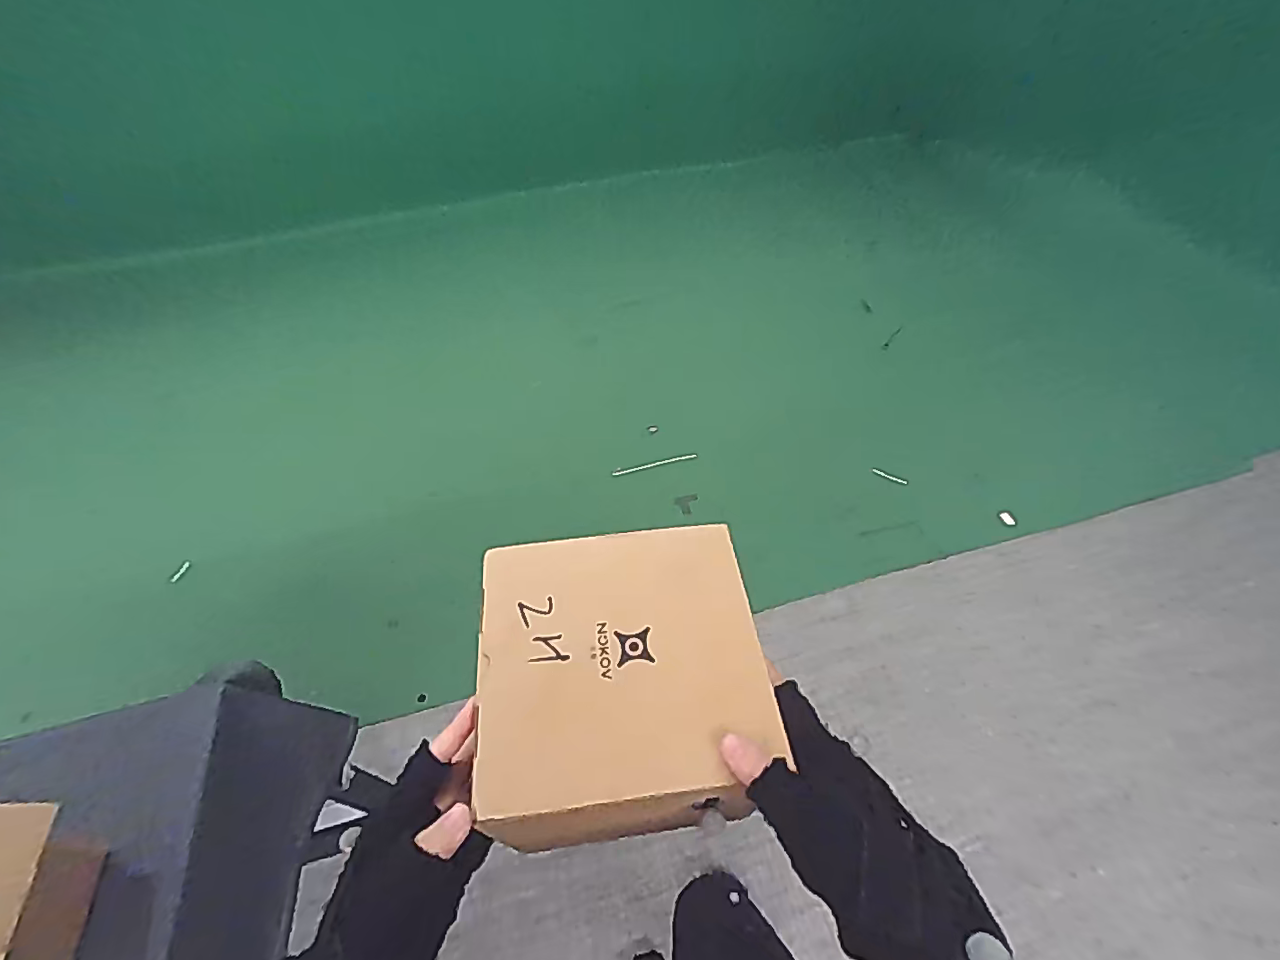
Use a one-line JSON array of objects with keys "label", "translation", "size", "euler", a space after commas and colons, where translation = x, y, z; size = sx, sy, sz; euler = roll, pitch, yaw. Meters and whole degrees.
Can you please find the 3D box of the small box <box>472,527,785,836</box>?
[{"label": "small box", "translation": [-0.015, 0.153, 0.405], "size": [0.179, 0.176, 0.168], "euler": [-4, 51, -6]}]
